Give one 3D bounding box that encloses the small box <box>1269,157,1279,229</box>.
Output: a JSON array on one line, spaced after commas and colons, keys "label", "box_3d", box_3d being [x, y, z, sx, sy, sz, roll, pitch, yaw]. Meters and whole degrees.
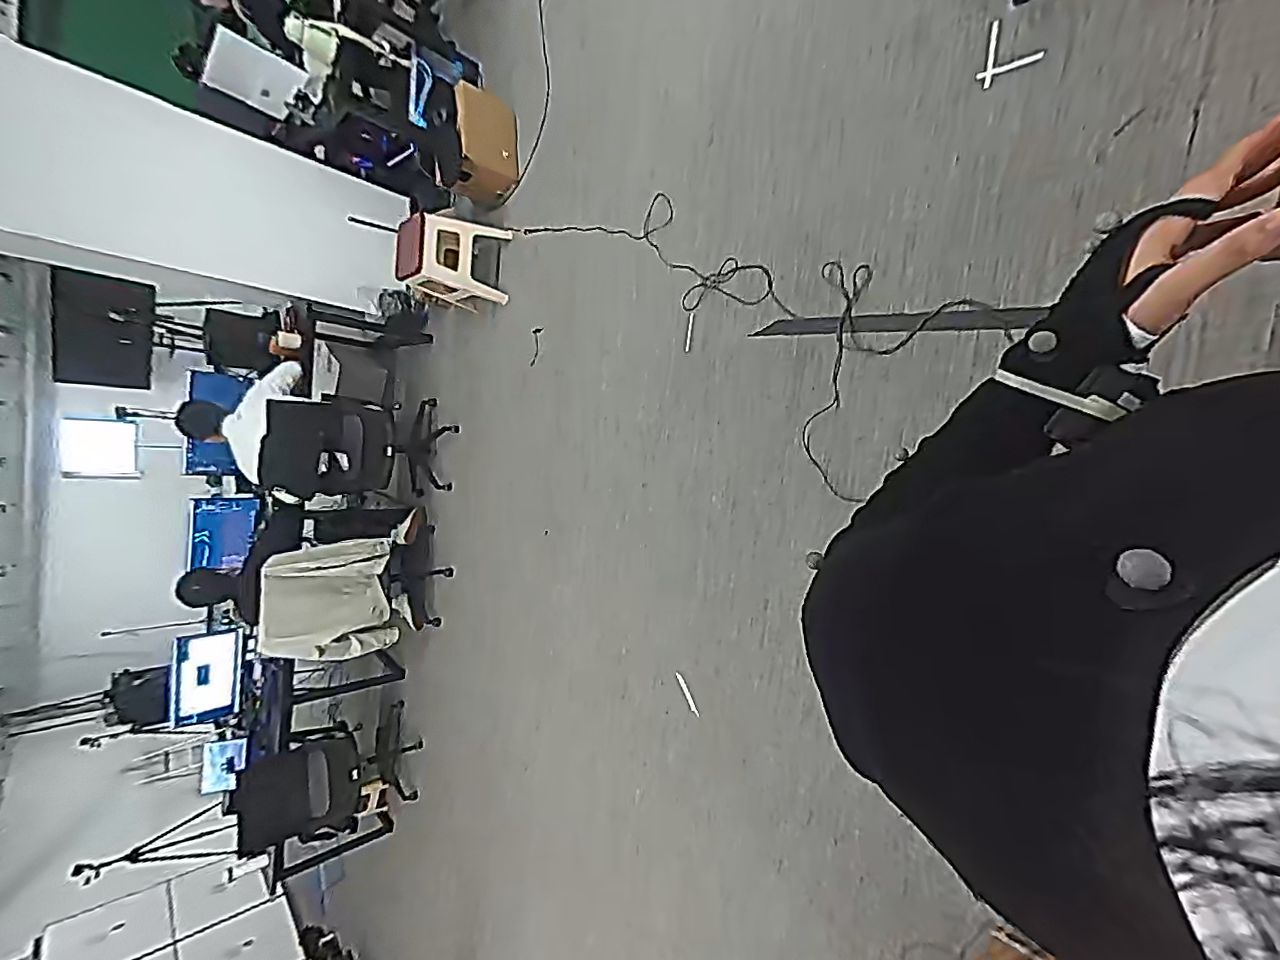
[{"label": "small box", "box_3d": [0.464, -0.231, 0.274, 0.168, 0.176, 0.179, 13, 109, 44]}]
